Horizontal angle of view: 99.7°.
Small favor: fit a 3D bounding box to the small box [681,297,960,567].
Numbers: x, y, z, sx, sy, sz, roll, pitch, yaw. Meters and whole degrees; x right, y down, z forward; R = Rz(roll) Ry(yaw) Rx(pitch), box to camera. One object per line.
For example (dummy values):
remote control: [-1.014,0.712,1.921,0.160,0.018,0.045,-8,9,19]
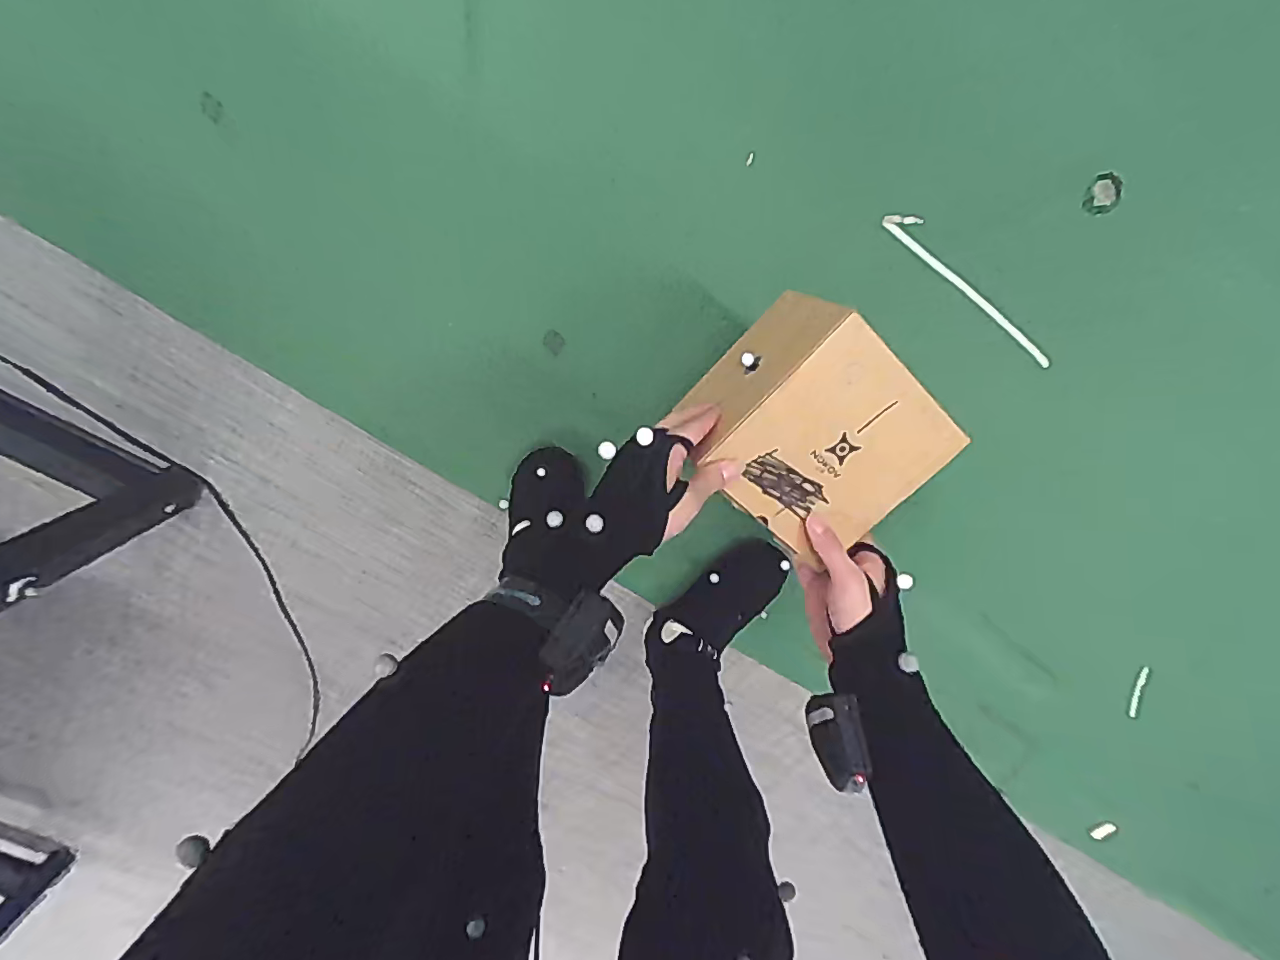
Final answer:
small box: [0.156,-0.055,0.534,0.168,0.176,0.179,40,106,-19]
